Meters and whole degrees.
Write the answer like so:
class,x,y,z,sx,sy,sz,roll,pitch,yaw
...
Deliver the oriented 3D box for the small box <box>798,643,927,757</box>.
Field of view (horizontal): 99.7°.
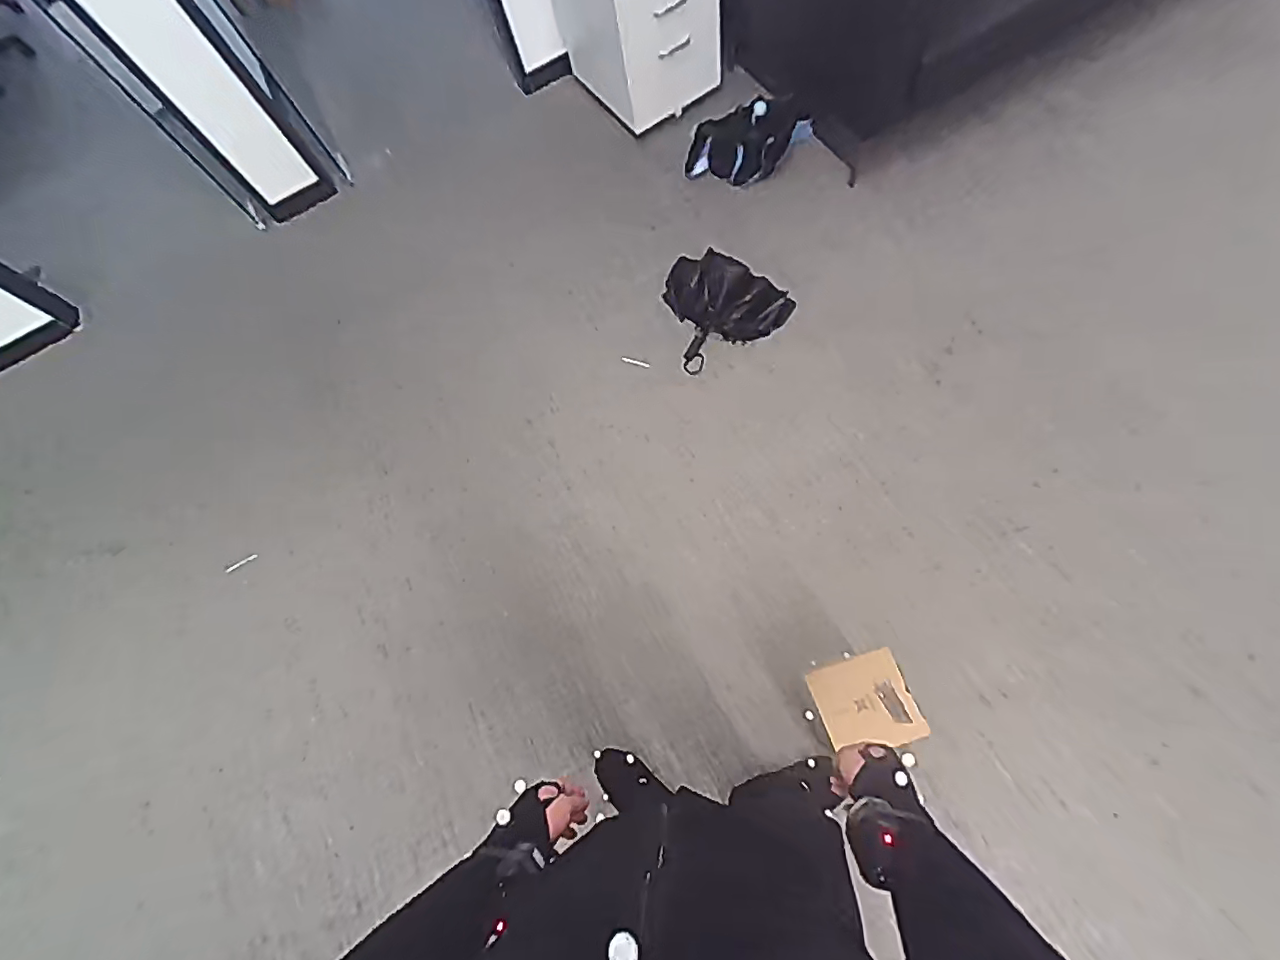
class,x,y,z,sx,sy,sz,roll,pitch,yaw
small box,0.437,0.441,1.097,0.179,0.176,0.168,-20,66,4
